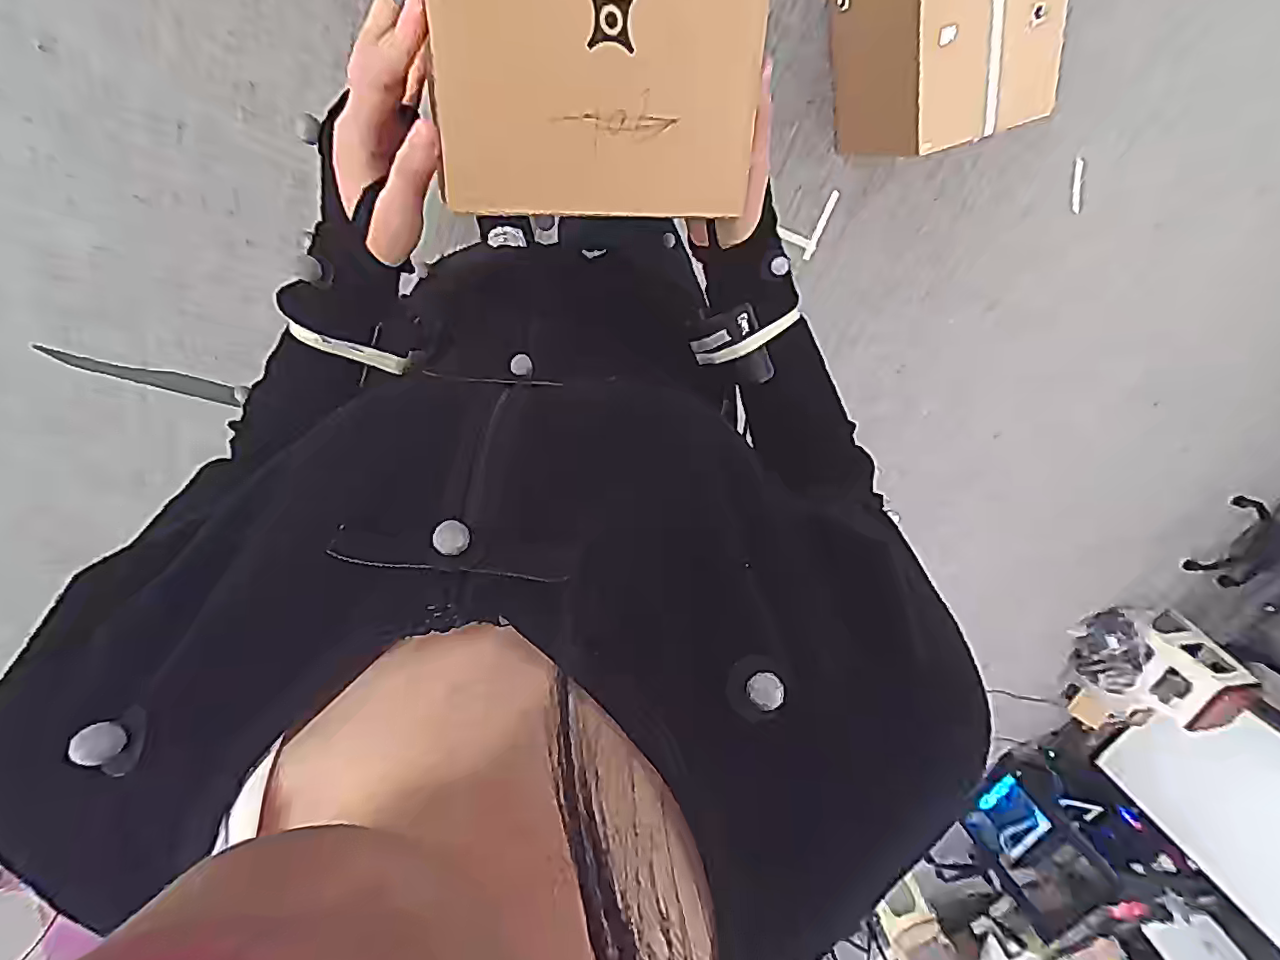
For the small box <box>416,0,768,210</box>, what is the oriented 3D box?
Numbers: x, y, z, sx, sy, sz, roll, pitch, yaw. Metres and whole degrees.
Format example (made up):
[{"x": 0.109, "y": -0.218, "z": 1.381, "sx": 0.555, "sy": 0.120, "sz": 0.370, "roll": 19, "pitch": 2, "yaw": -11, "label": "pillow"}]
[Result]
[{"x": -0.040, "y": -0.262, "z": 0.316, "sx": 0.168, "sy": 0.176, "sz": 0.179, "roll": -8, "pitch": 121, "yaw": -18, "label": "small box"}]
